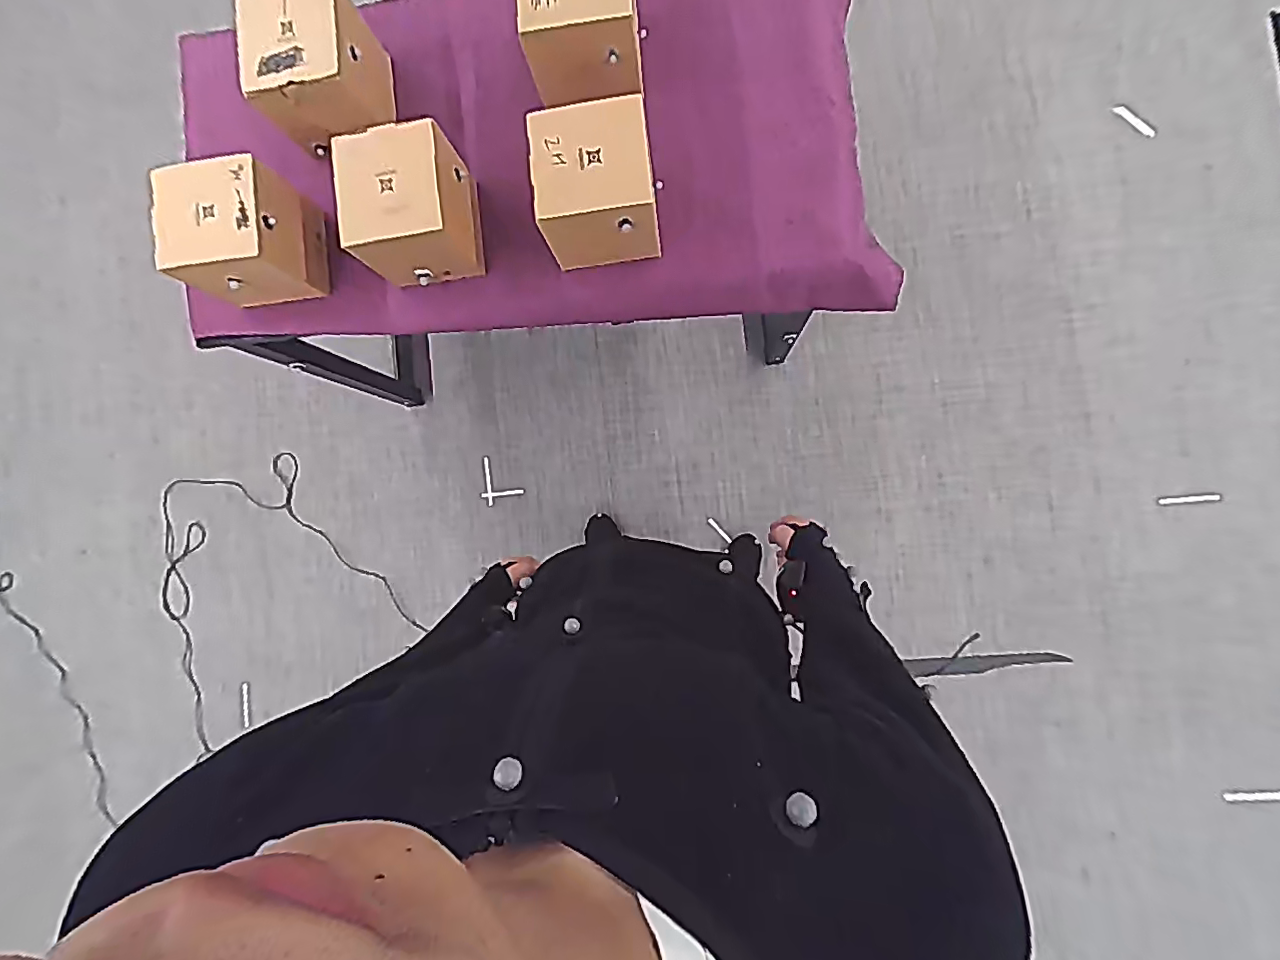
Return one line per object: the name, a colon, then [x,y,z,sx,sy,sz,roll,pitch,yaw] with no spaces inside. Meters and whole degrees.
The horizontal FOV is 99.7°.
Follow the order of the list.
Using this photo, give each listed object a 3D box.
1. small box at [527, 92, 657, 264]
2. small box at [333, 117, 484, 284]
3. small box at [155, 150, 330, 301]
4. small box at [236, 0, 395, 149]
small box: [-0.066,-0.465,0.859,0.179,0.176,0.168,-6,87,6]
small box: [-0.373,-0.449,0.894,0.168,0.176,0.179,-6,89,6]
small box: [-0.666,-0.418,0.920,0.179,0.176,0.168,-5,88,6]
small box: [-0.540,-0.696,0.920,0.168,0.176,0.179,-6,87,5]
